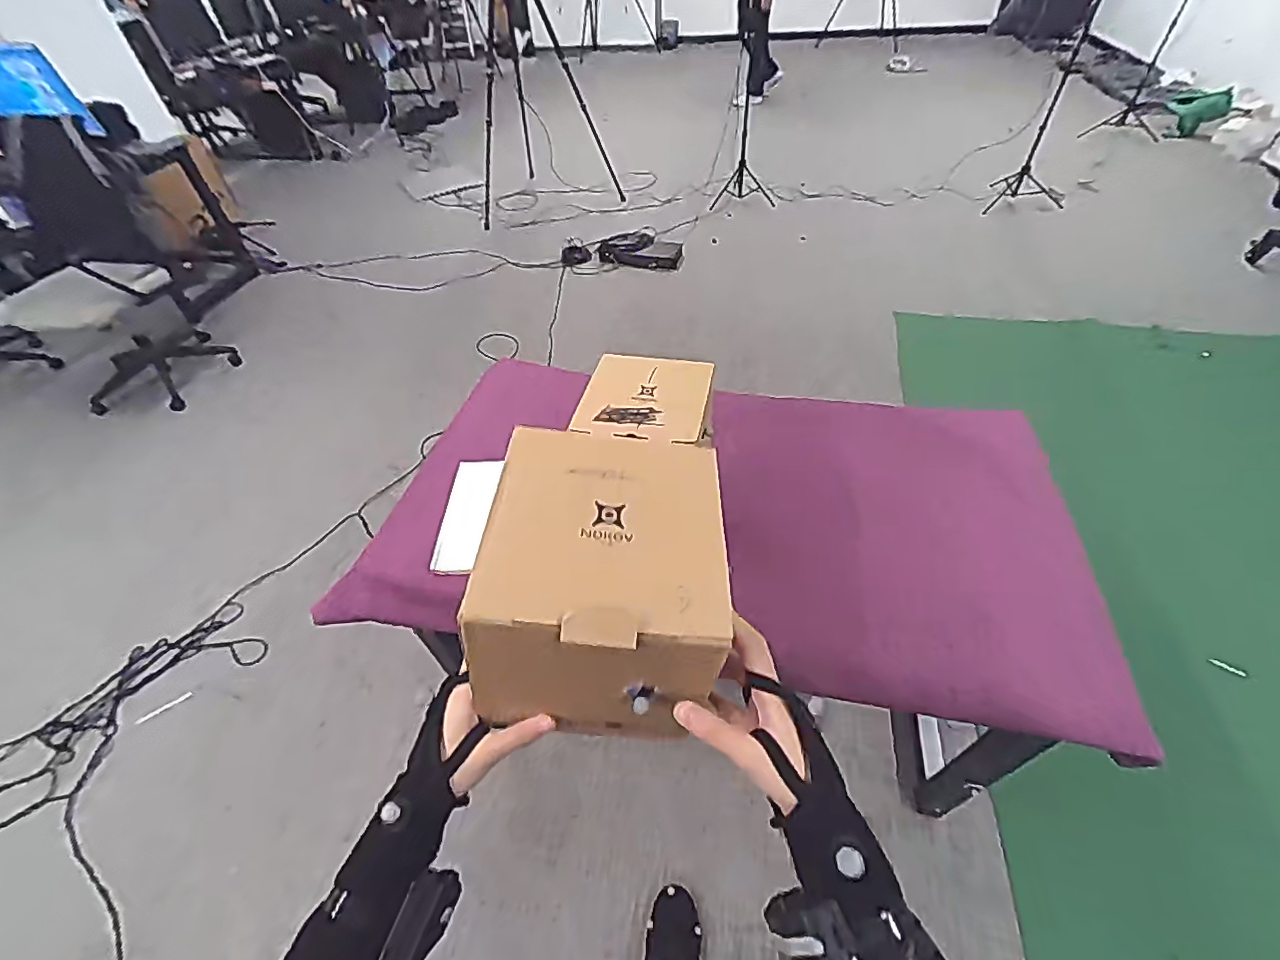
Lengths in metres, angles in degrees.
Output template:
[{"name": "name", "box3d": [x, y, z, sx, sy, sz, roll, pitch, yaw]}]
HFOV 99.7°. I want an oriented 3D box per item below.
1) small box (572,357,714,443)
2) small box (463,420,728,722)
[{"name": "small box", "box3d": [0.012, -0.054, 0.781, 0.168, 0.176, 0.179, 8, 47, 11]}, {"name": "small box", "box3d": [-0.031, 0.078, 0.440, 0.168, 0.176, 0.179, 7, 45, -4]}]
